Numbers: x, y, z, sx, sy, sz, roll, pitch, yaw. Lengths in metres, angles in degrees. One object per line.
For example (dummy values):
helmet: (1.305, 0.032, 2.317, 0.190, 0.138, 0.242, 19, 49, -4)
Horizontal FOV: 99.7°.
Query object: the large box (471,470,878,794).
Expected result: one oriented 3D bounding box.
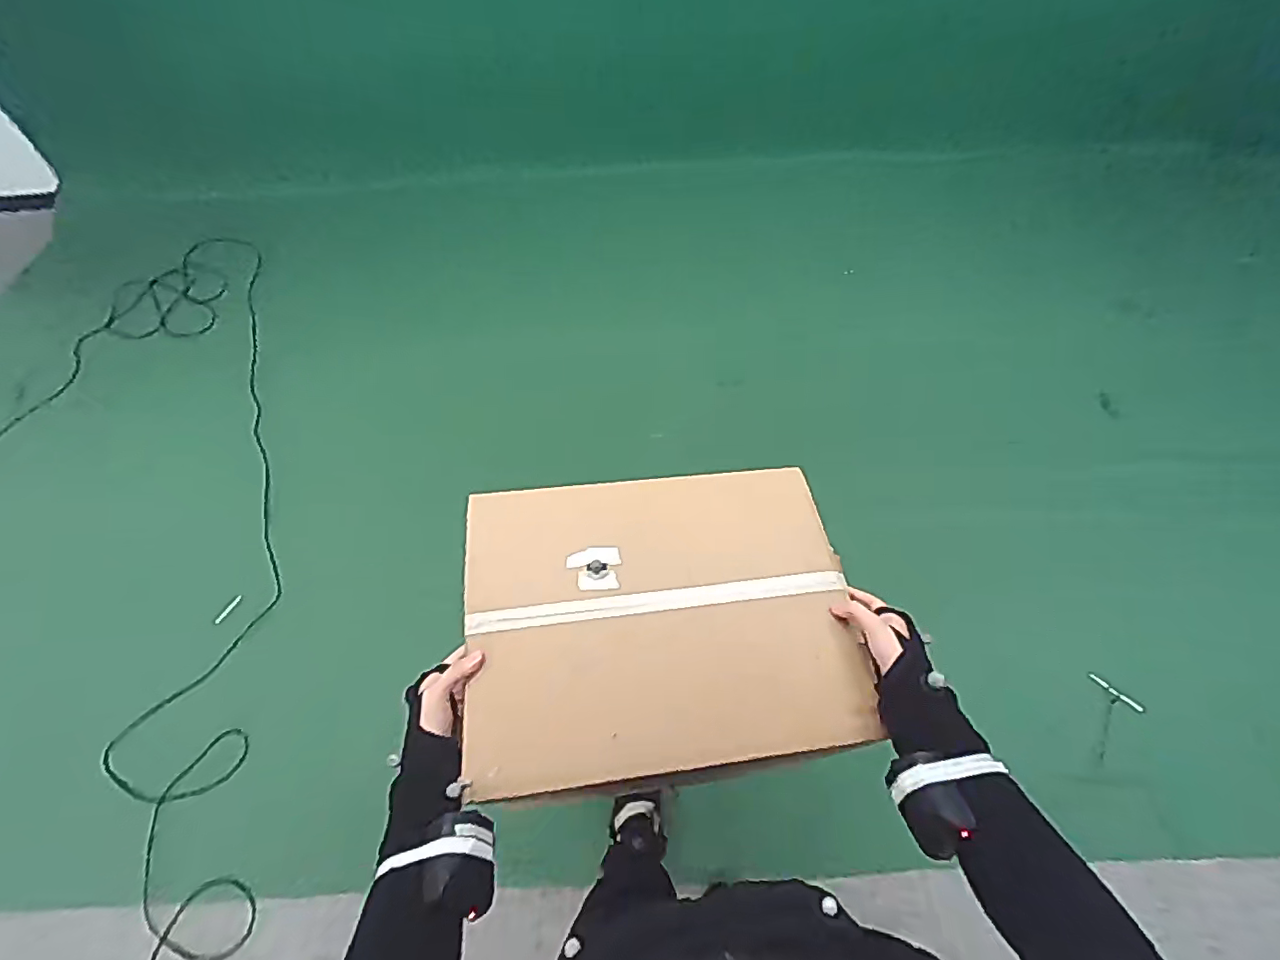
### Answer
large box: (0.017, 0.211, 0.714, 0.408, 0.320, 0.320, -5, 58, -6)
